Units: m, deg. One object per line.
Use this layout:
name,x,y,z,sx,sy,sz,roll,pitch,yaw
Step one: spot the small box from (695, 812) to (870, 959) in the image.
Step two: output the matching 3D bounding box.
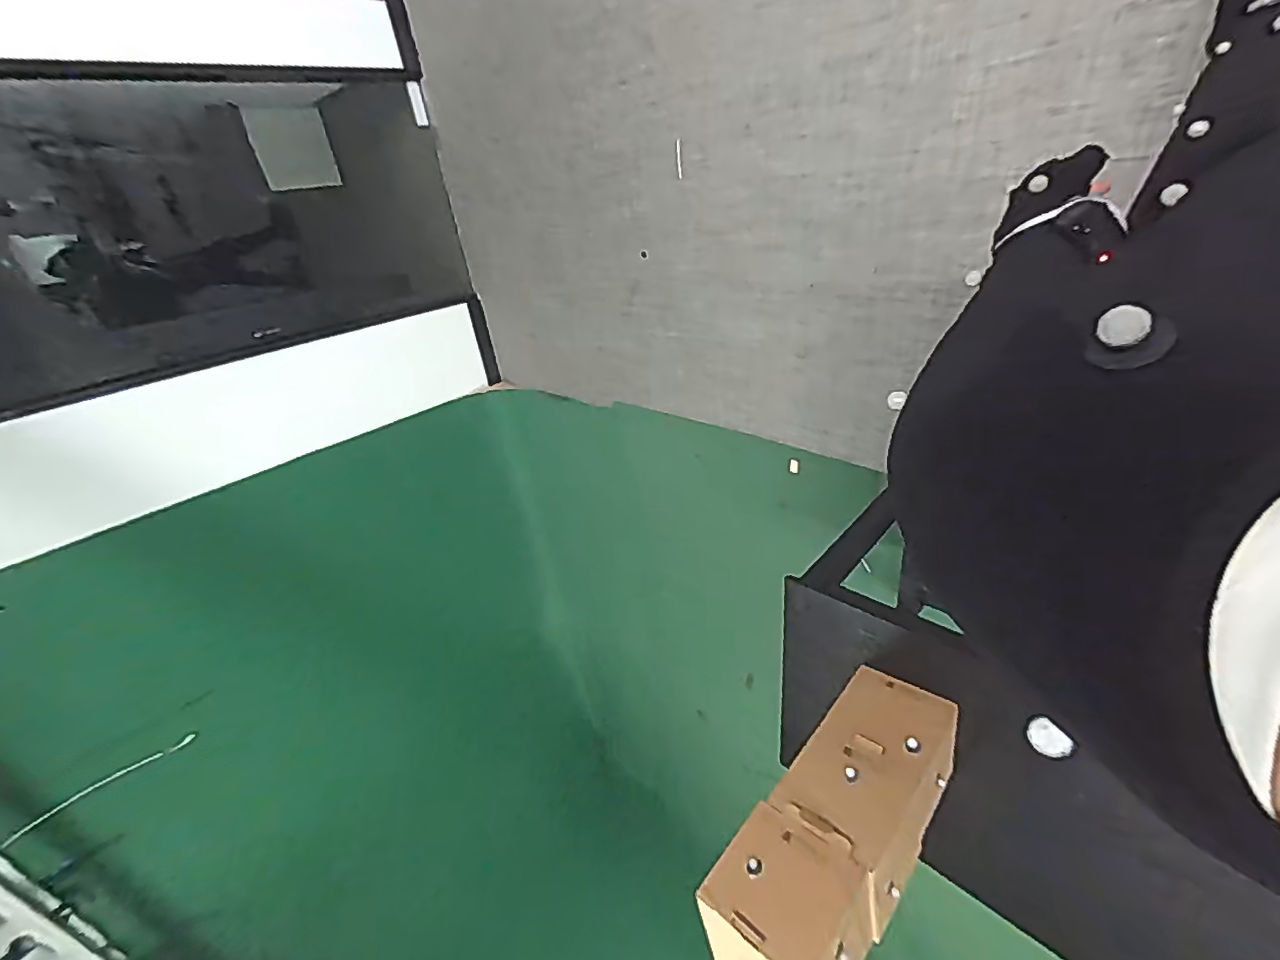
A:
small box,0.203,0.615,0.750,0.168,0.176,0.179,12,125,45

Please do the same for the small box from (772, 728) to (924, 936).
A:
small box,0.331,0.539,0.850,0.168,0.176,0.179,12,124,44
